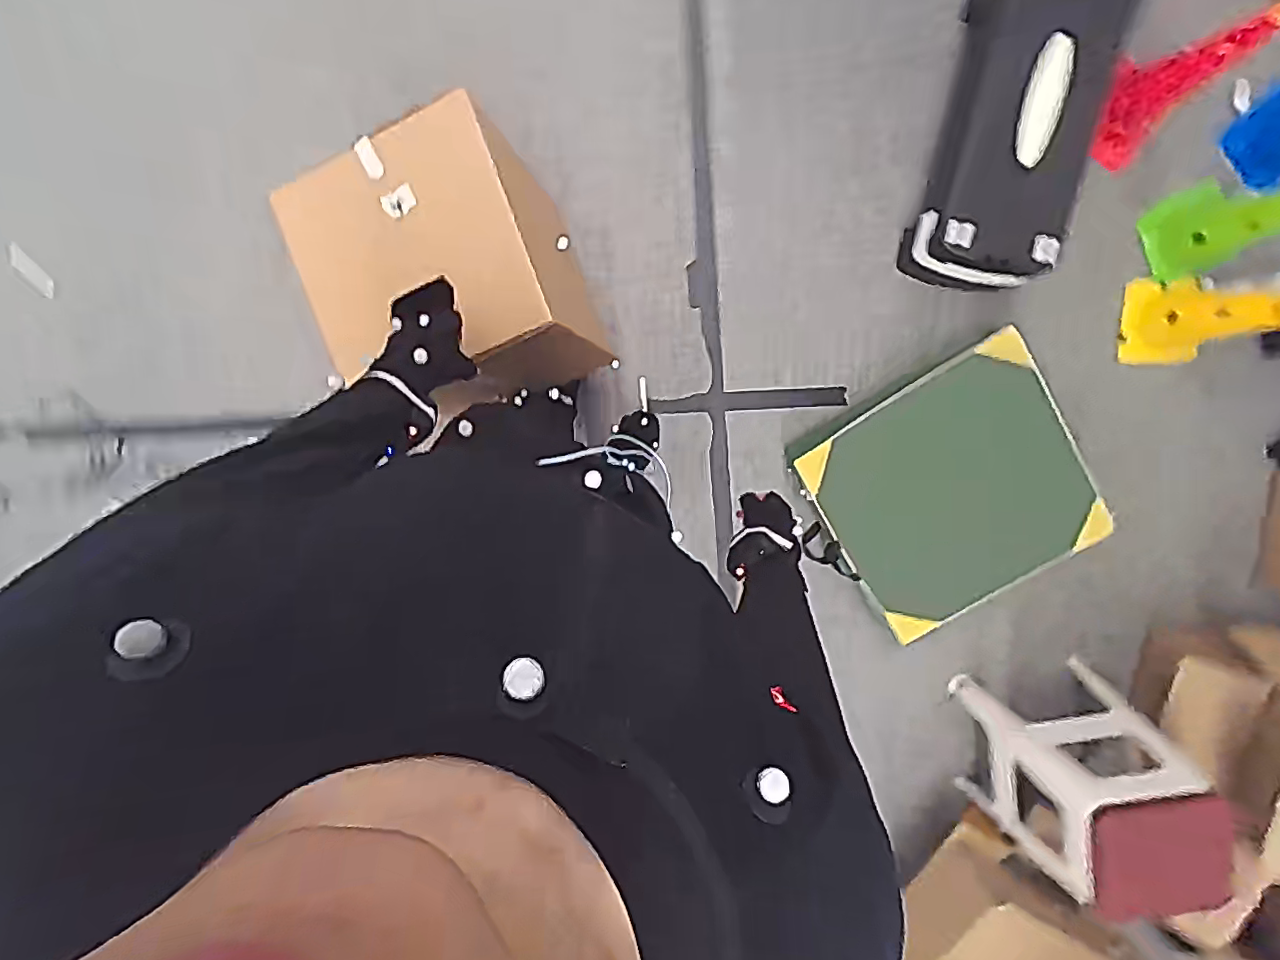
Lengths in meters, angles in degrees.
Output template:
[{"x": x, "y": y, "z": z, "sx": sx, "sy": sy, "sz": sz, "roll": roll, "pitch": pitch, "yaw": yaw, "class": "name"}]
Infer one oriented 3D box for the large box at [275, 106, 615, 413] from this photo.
[{"x": -0.279, "y": -0.311, "z": 0.905, "sx": 0.320, "sy": 0.408, "sz": 0.320, "roll": -20, "pitch": 93, "yaw": 12, "class": "large box"}]
